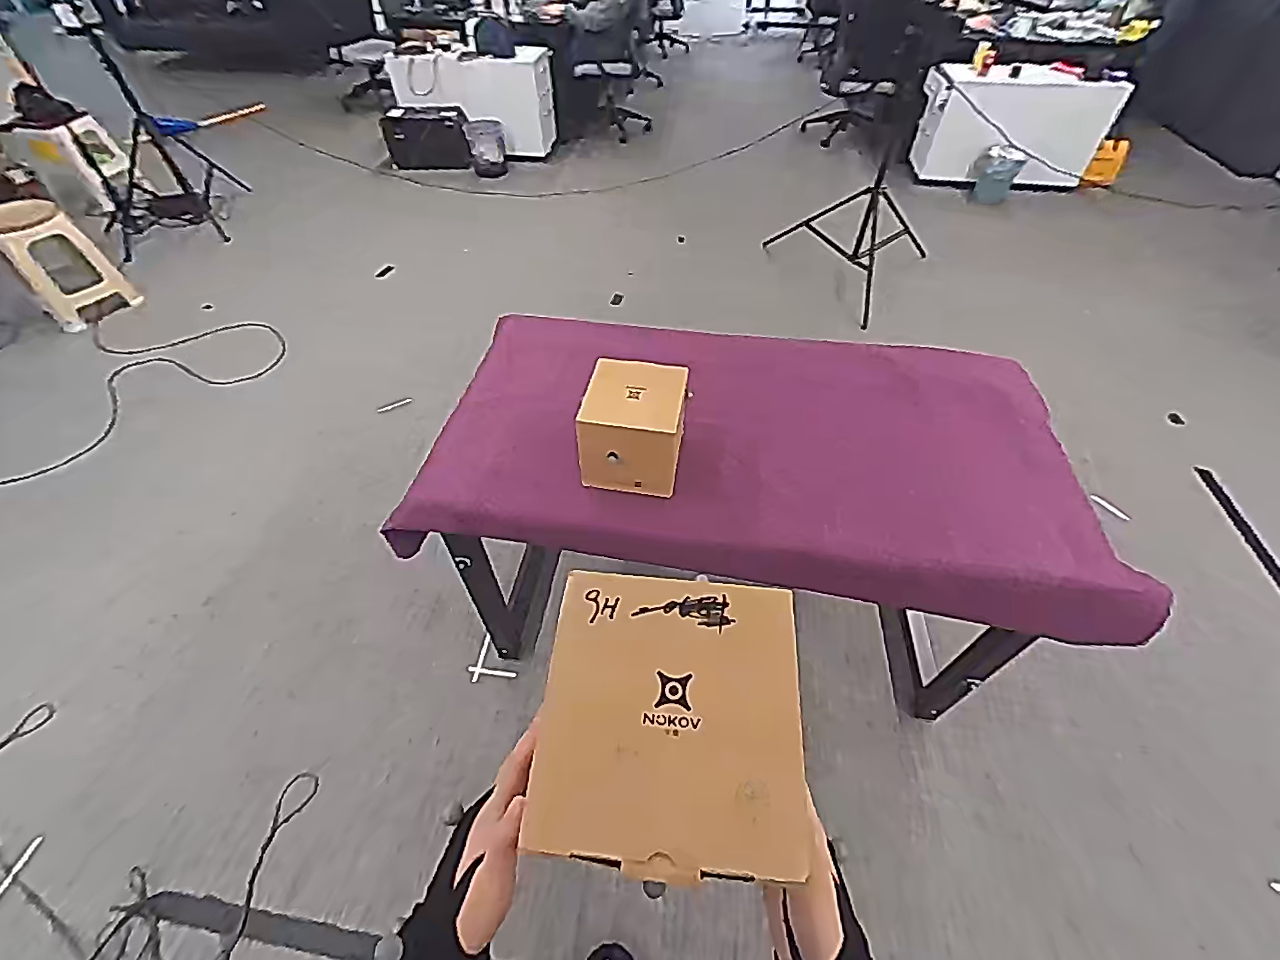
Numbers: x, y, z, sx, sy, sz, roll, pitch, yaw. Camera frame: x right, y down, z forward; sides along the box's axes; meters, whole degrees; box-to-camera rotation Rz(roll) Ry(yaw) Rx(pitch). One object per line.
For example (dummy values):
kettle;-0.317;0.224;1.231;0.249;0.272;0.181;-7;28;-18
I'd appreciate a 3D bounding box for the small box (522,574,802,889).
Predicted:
small box;0.021;0.193;0.419;0.168;0.176;0.179;5;56;3

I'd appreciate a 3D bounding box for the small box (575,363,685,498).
small box;-0.012;-0.087;0.985;0.168;0.176;0.179;7;48;6
